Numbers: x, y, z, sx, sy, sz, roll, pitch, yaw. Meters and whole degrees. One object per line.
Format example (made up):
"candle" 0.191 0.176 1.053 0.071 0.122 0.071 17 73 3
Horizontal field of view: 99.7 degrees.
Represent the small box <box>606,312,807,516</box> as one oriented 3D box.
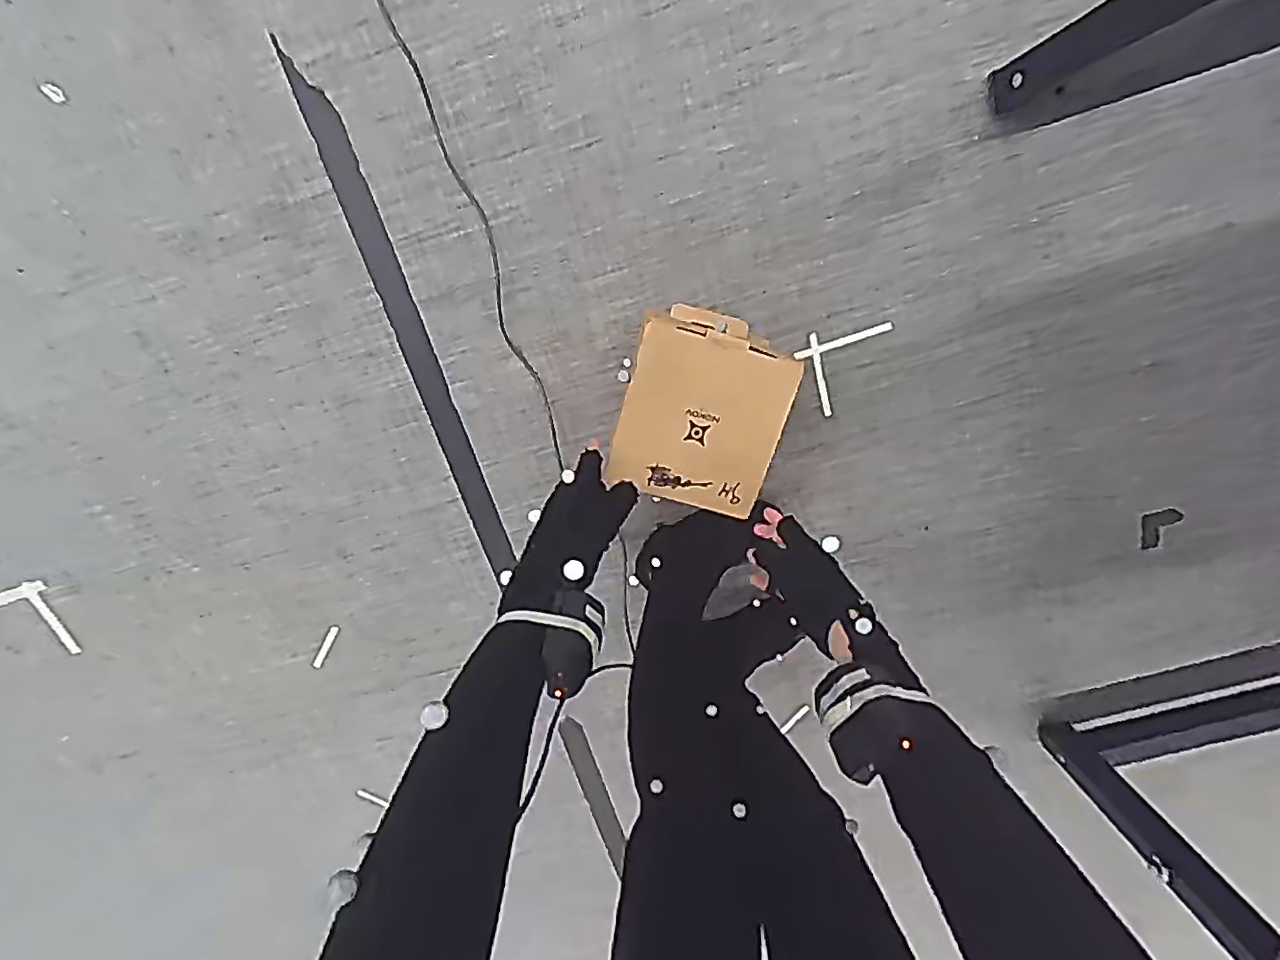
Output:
"small box" 0.064 -0.085 0.625 0.168 0.176 0.179 16 107 -4
